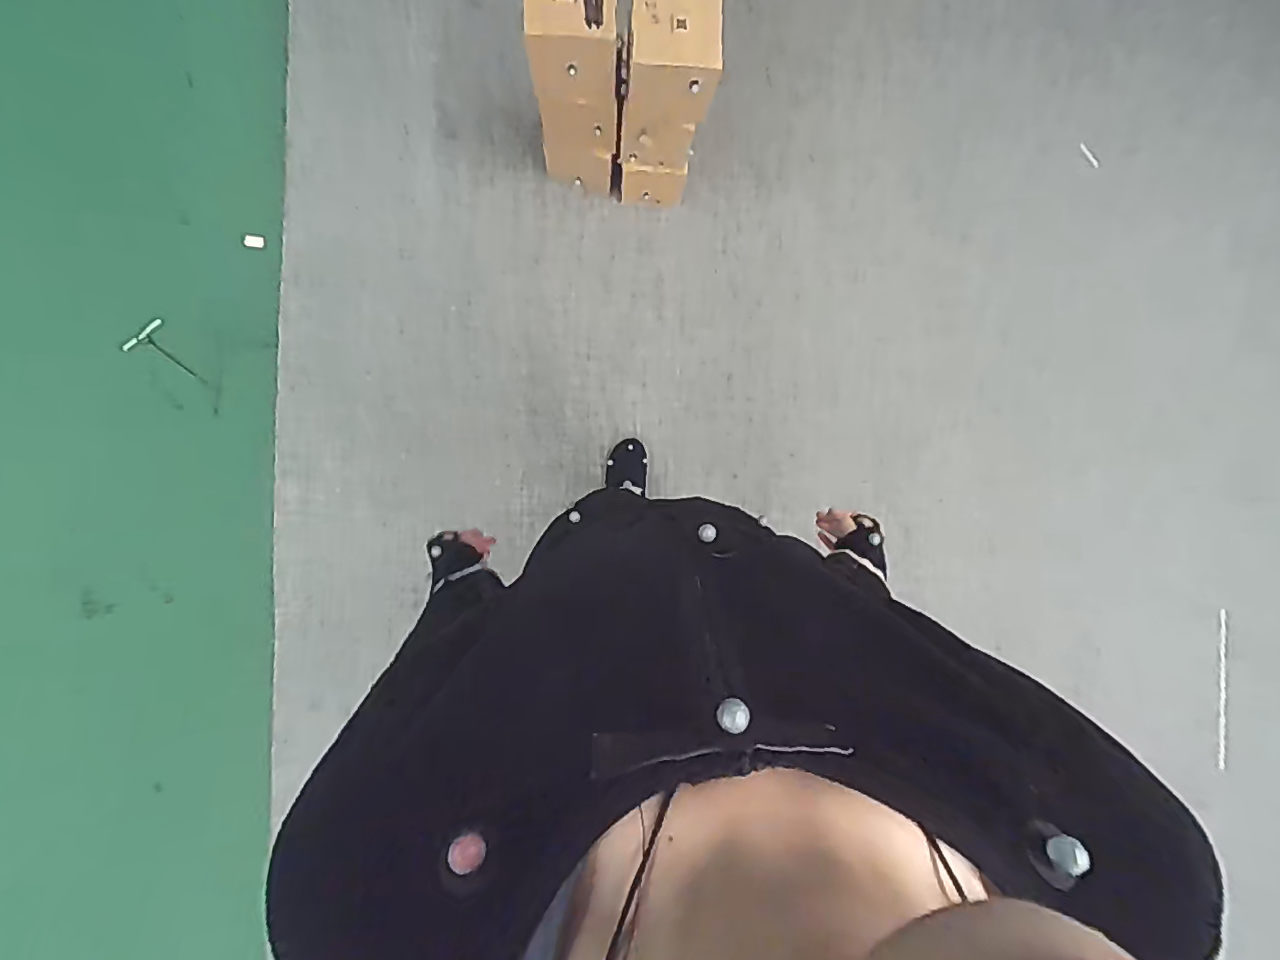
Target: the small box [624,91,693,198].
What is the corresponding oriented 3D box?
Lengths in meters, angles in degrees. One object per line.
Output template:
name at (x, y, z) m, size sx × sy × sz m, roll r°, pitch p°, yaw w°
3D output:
small box at (0.043, -0.873, 1.420) m, size 0.168 × 0.176 × 0.179 m, roll 1°, pitch 92°, yaw -3°
